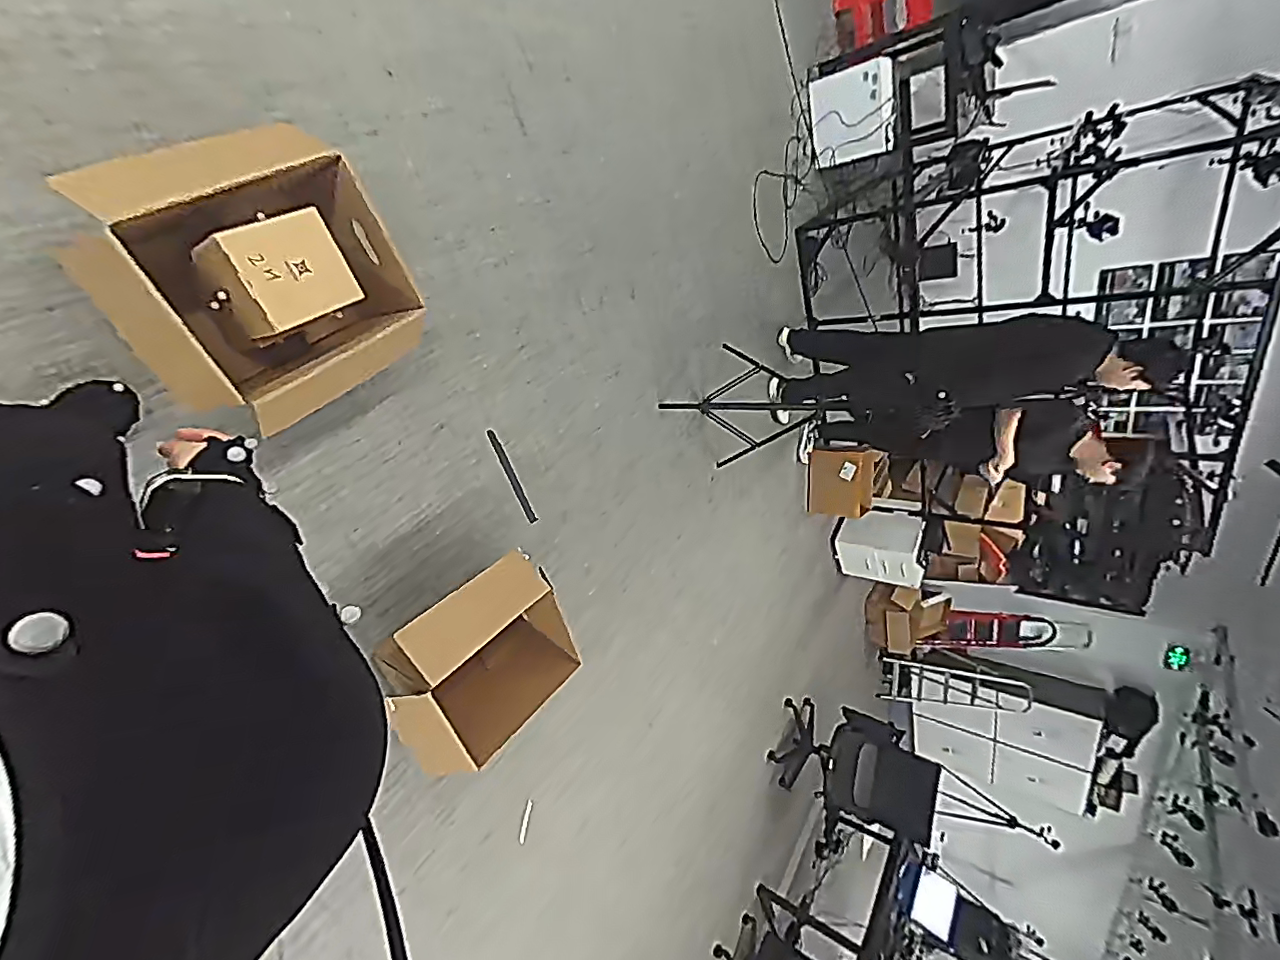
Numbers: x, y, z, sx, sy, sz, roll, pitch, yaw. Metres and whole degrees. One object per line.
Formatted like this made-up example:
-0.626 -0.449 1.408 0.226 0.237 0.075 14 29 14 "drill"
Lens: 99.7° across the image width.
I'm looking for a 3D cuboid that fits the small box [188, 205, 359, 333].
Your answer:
-0.666 -0.380 0.986 0.179 0.176 0.168 -45 127 -37 "small box"
